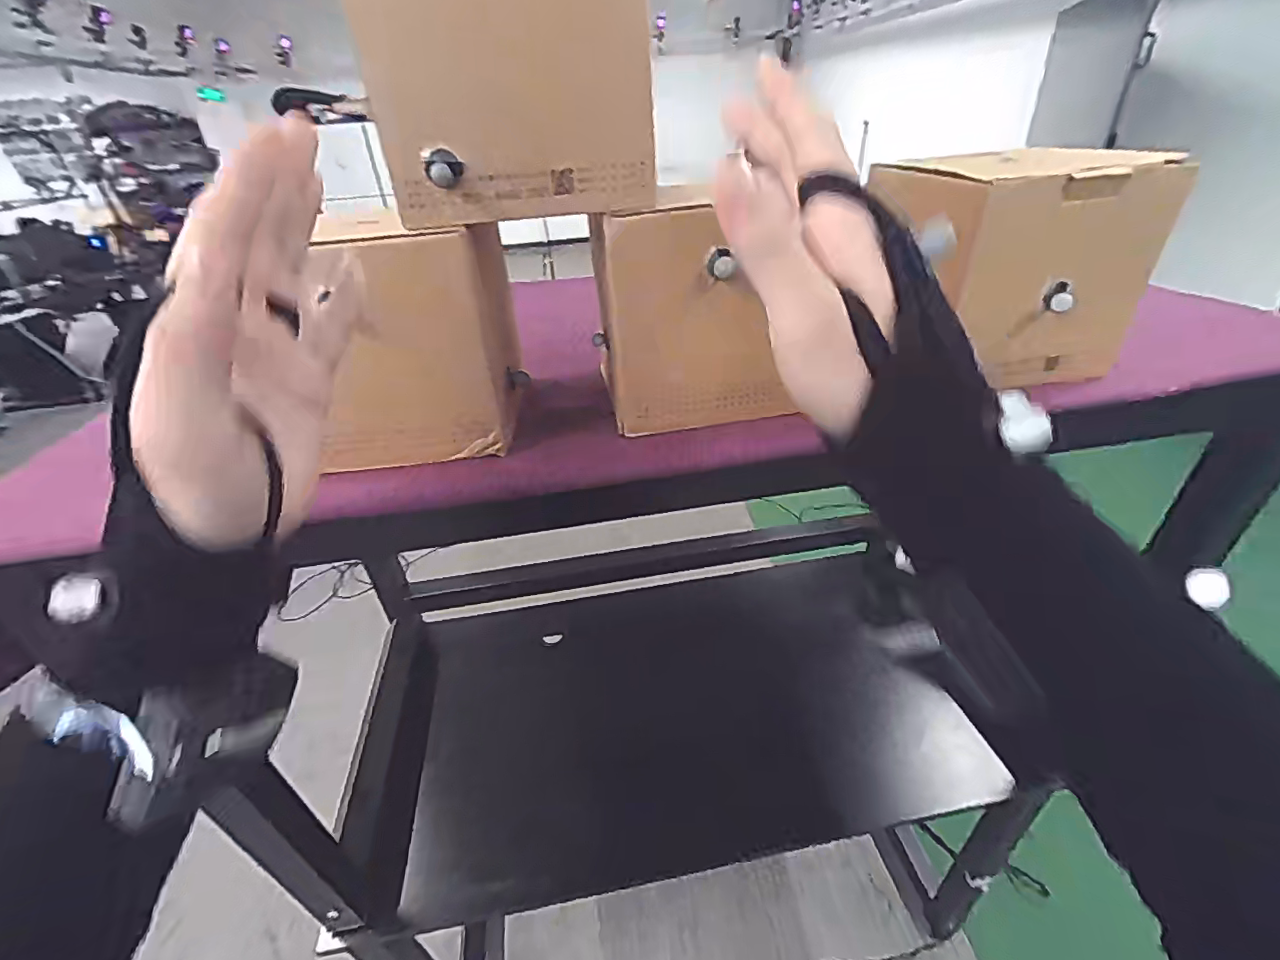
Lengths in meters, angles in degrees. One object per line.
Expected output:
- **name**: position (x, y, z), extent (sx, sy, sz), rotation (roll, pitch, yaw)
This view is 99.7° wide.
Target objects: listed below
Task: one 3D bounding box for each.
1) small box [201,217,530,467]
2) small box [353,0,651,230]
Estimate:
- **small box**: position (-0.200, -0.121, 0.458), extent (0.179, 0.176, 0.168), rotation (-5, 32, -3)
- **small box**: position (-0.088, -0.284, 0.394), extent (0.168, 0.176, 0.179), rotation (-8, 32, -6)
